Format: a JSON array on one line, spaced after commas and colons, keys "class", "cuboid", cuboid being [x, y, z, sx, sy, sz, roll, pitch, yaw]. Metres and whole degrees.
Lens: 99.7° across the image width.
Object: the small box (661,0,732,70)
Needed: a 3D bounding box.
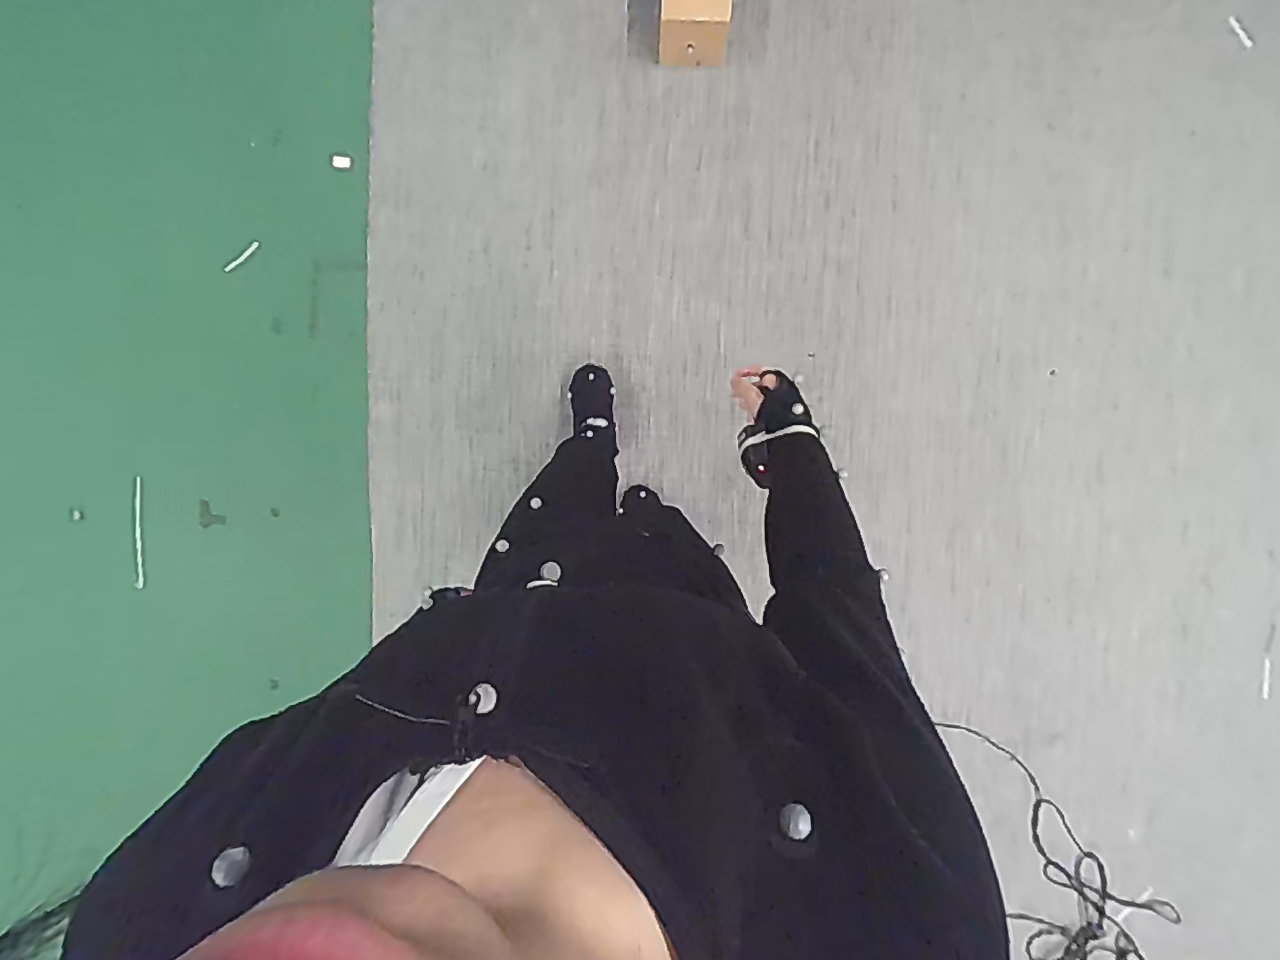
[{"class": "small box", "cuboid": [0.139, -1.160, 1.341, 0.168, 0.176, 0.179, 3, 94, 0]}]
